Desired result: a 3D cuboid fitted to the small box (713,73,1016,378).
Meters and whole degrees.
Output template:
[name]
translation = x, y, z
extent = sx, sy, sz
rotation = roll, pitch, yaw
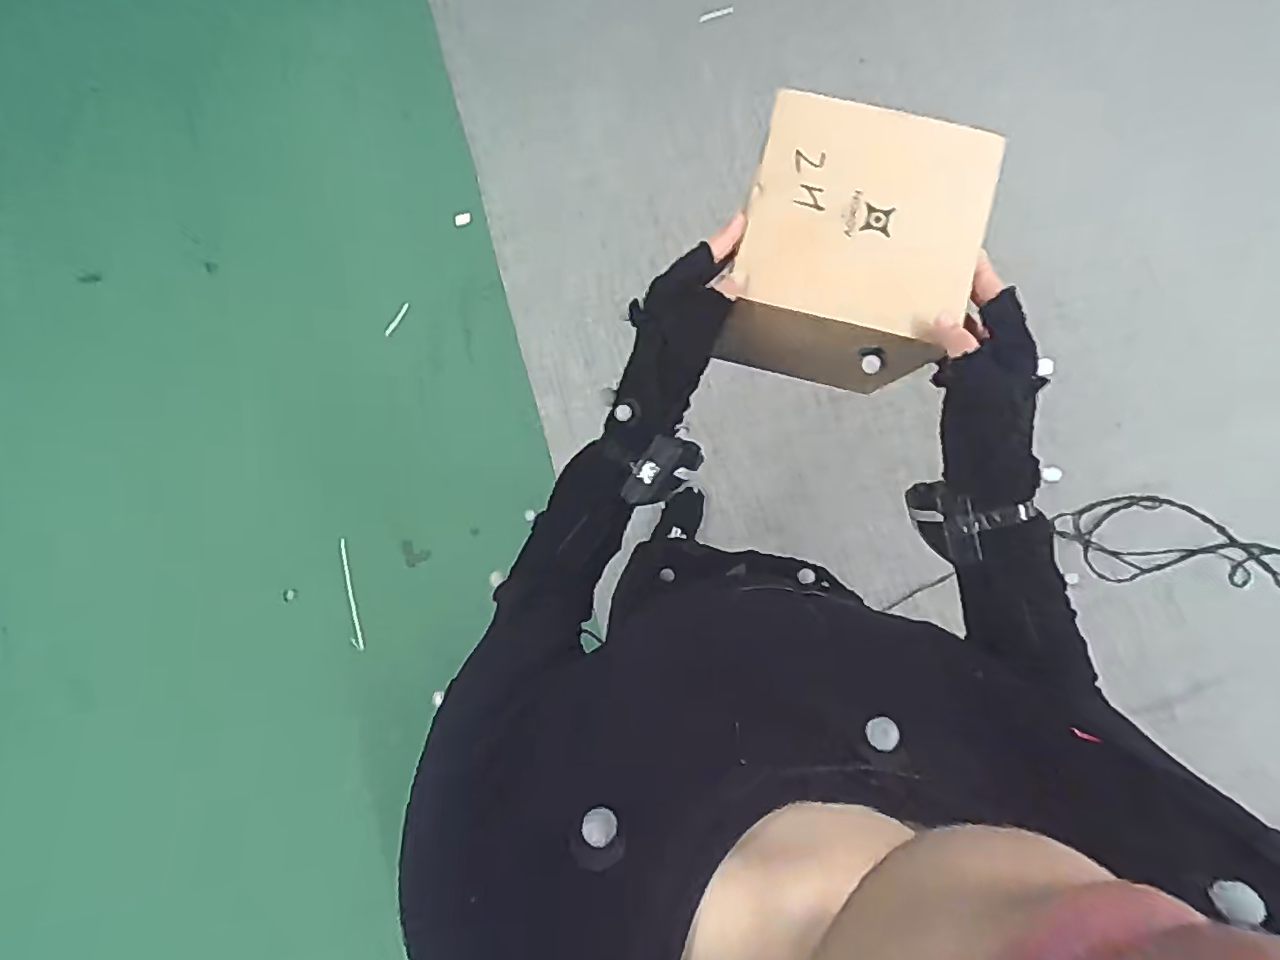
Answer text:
[small box]
translation = 0.172, -0.198, 0.473
extent = 0.179, 0.176, 0.168
rotation = 15, 88, 4
